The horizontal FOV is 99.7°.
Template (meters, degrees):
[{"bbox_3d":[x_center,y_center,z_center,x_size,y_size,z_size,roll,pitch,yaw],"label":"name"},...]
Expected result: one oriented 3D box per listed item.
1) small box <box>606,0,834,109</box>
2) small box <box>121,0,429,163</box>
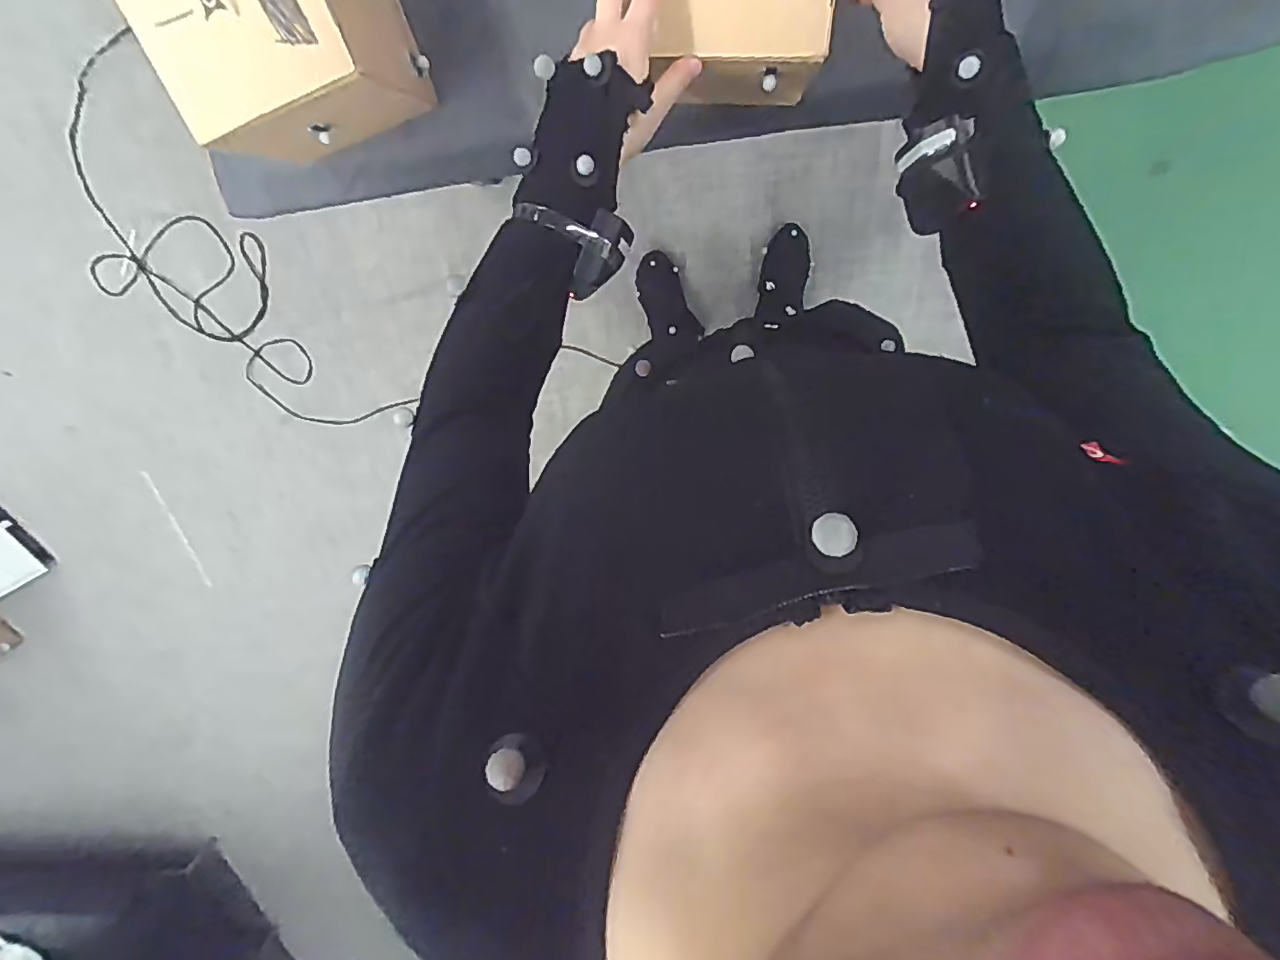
[{"bbox_3d":[0.071,-0.434,0.467,0.179,0.176,0.168,4,115,5],"label":"small box"},{"bbox_3d":[-0.329,-0.422,0.514,0.179,0.176,0.168,-13,114,13],"label":"small box"}]
